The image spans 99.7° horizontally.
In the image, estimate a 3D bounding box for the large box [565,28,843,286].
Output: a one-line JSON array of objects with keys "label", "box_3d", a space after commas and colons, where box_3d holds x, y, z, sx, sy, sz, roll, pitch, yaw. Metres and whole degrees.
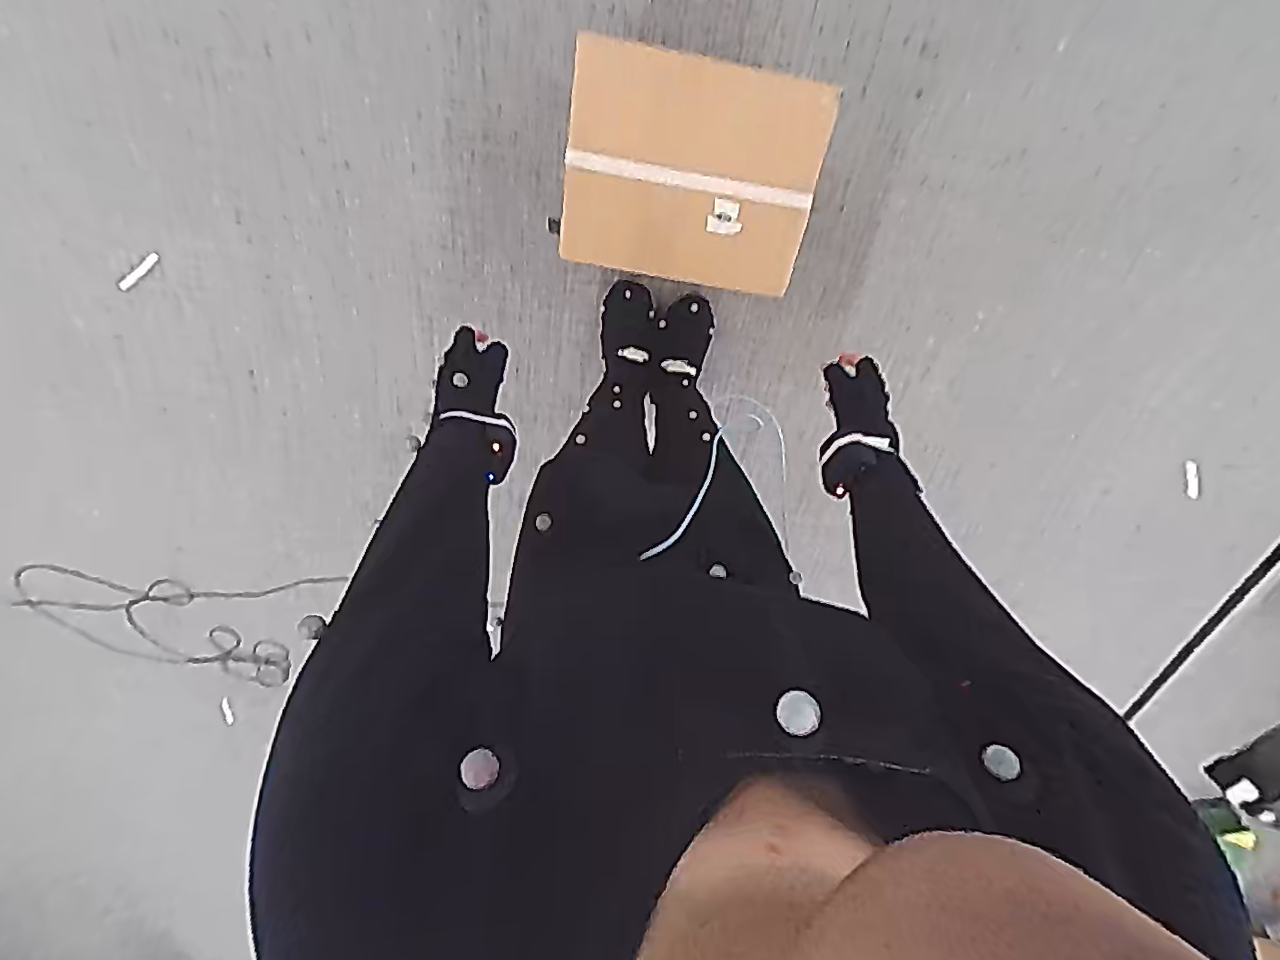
[{"label": "large box", "box_3d": [0.085, -0.576, 0.998, 0.408, 0.320, 0.320, 8, 122, -5]}]
